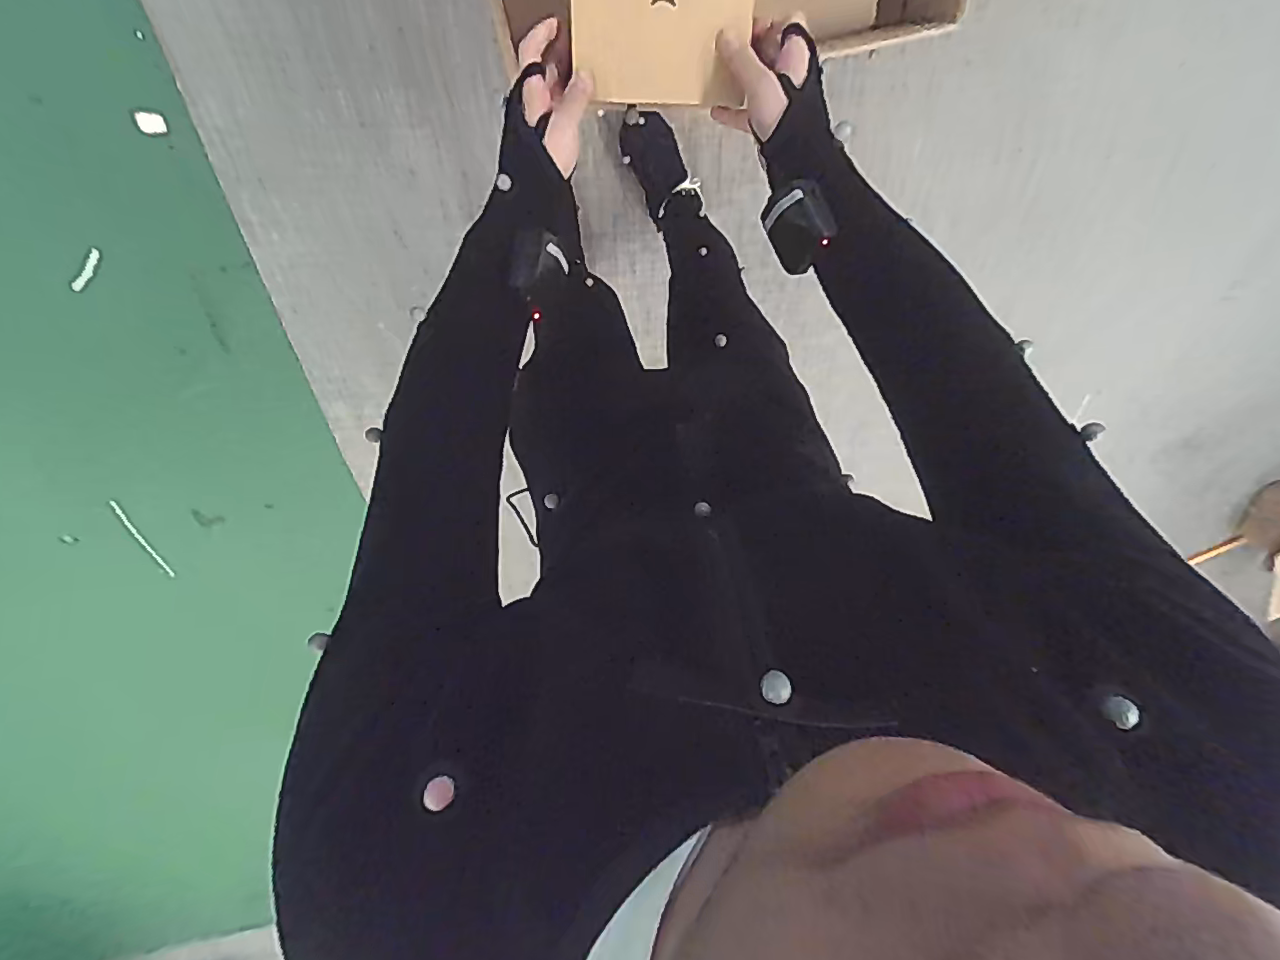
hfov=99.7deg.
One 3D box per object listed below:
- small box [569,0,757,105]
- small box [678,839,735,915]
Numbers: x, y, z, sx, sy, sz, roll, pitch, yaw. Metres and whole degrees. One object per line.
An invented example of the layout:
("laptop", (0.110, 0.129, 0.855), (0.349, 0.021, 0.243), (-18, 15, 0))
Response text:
("small box", (0.017, -0.474, 0.523), (0.168, 0.176, 0.179), (-1, 122, -4))
("small box", (0.235, 1.425, 1.945), (0.168, 0.176, 0.179), (-9, 129, -6))
